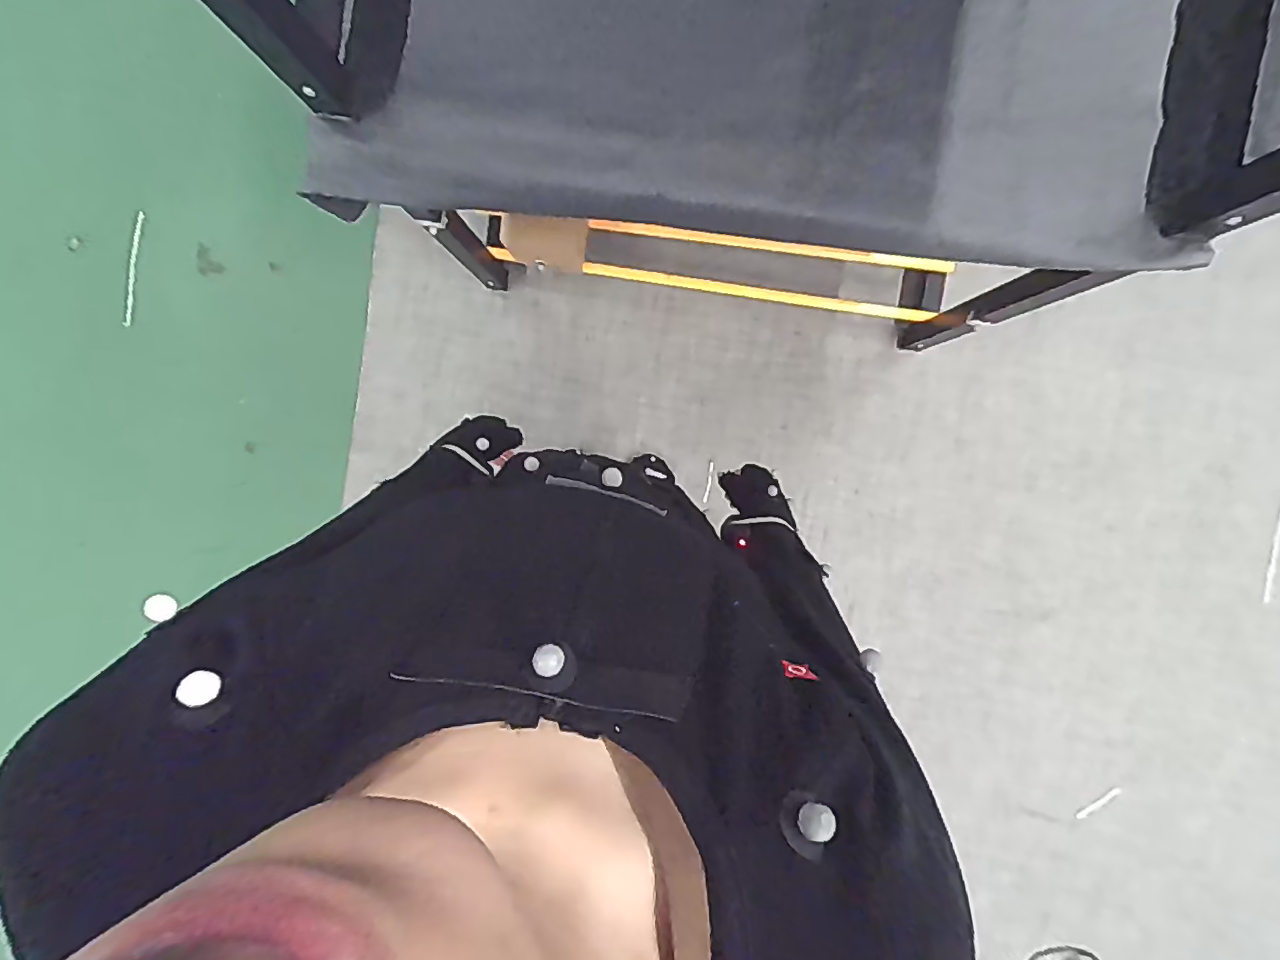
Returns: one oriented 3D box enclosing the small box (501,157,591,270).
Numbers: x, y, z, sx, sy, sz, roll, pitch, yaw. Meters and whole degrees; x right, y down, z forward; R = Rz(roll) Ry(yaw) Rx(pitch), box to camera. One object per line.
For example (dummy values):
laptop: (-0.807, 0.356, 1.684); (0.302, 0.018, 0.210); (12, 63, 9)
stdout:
small box: (-0.212, -0.613, 1.262); (0.168, 0.176, 0.179); (8, 96, 1)
